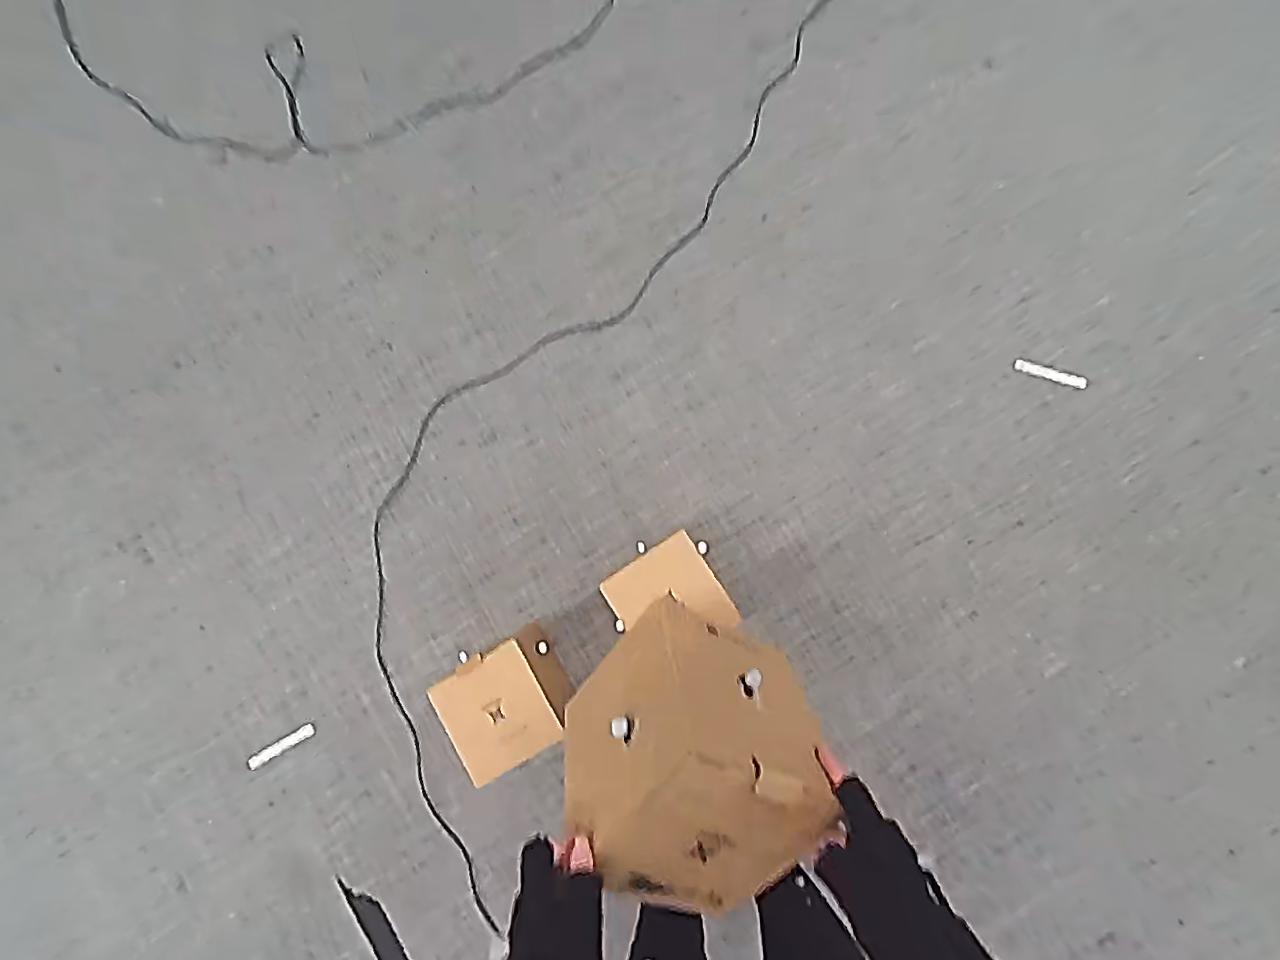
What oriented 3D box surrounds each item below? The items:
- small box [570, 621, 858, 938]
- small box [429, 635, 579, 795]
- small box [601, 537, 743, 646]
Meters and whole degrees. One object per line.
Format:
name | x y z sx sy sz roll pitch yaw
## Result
small box | 0.046 0.259 0.484 0.168 0.176 0.179 28 111 -21
small box | -0.221 0.384 0.927 0.168 0.176 0.179 -30 86 0
small box | 0.050 0.214 0.932 0.168 0.176 0.179 -34 85 -1
